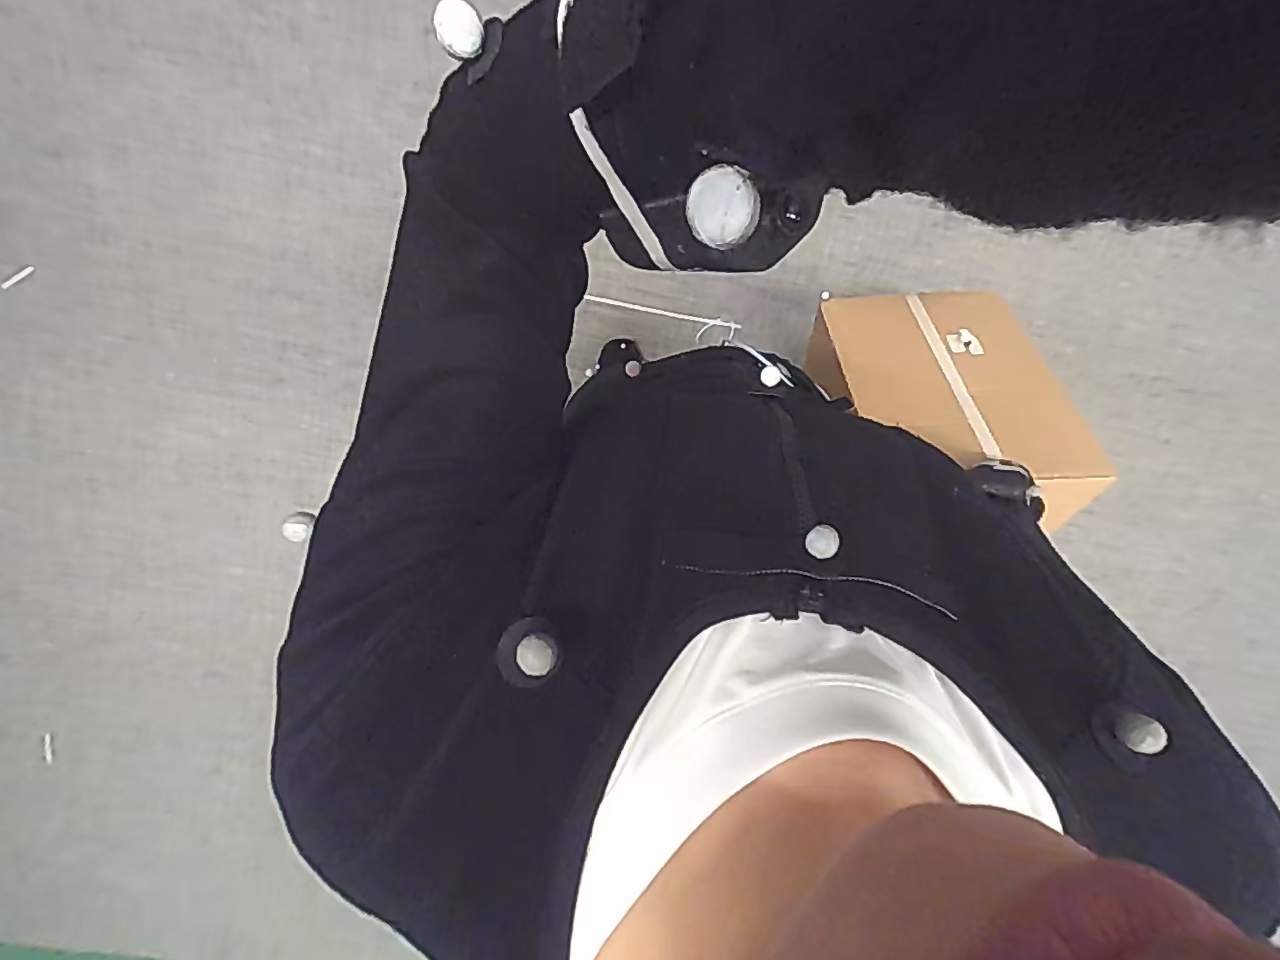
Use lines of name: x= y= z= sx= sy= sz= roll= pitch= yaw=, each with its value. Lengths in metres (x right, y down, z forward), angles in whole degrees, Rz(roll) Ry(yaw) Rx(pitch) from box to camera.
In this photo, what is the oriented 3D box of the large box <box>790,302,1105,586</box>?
large box: x=0.482 y=-0.062 z=0.971 sx=0.320 sy=0.408 sz=0.320 roll=-2 pitch=143 yaw=1
